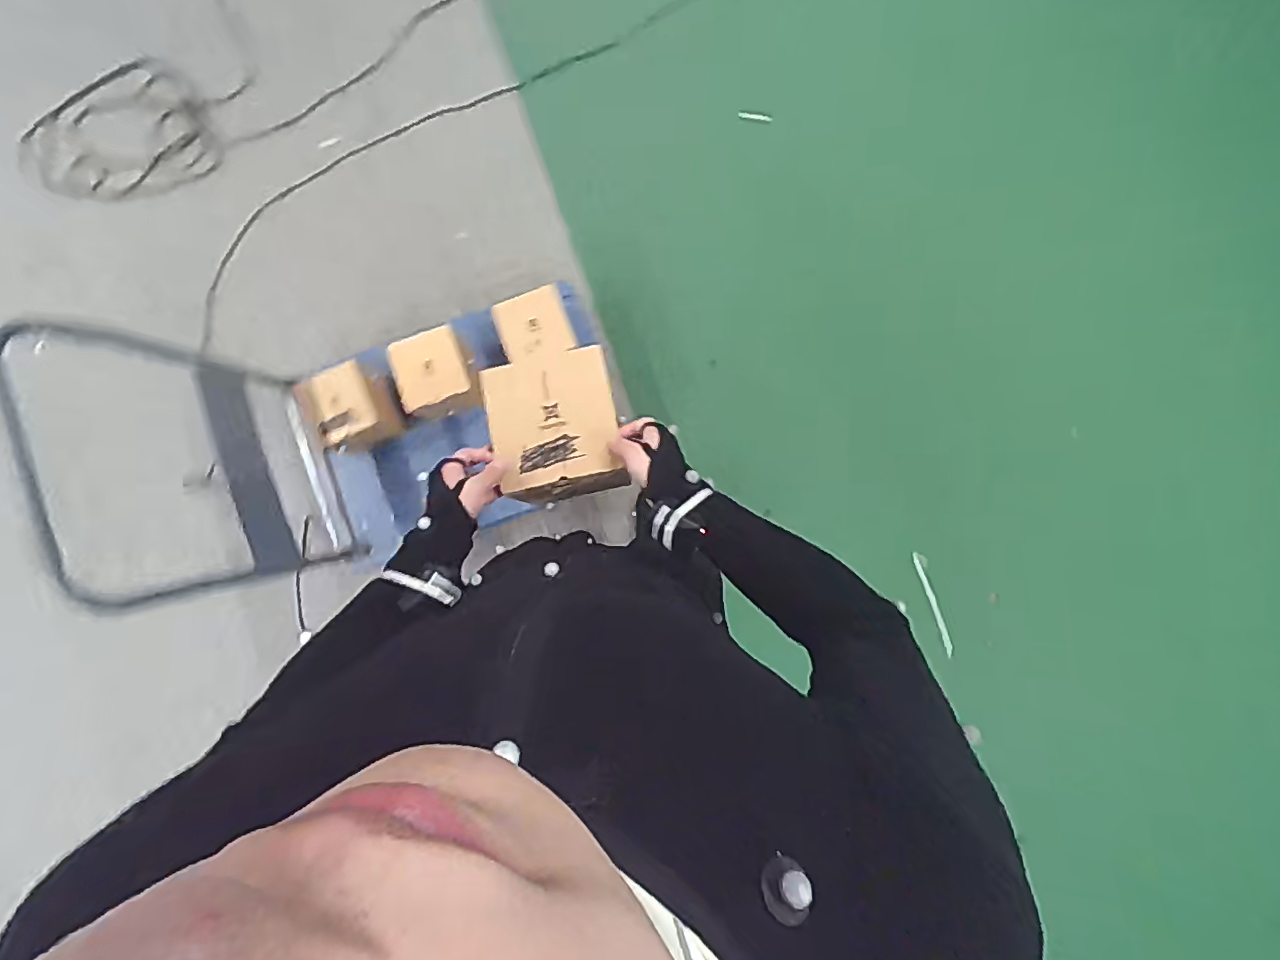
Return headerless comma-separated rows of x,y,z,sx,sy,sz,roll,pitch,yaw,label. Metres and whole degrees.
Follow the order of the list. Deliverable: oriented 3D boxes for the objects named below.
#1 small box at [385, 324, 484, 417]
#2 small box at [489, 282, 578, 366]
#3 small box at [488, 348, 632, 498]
-0.529,-0.279,1.413,0.168,0.176,0.179,-20,89,-1,small box
-0.268,-0.381,1.411,0.168,0.176,0.179,-21,88,1,small box
-0.110,-0.072,0.806,0.168,0.176,0.179,-12,82,0,small box
